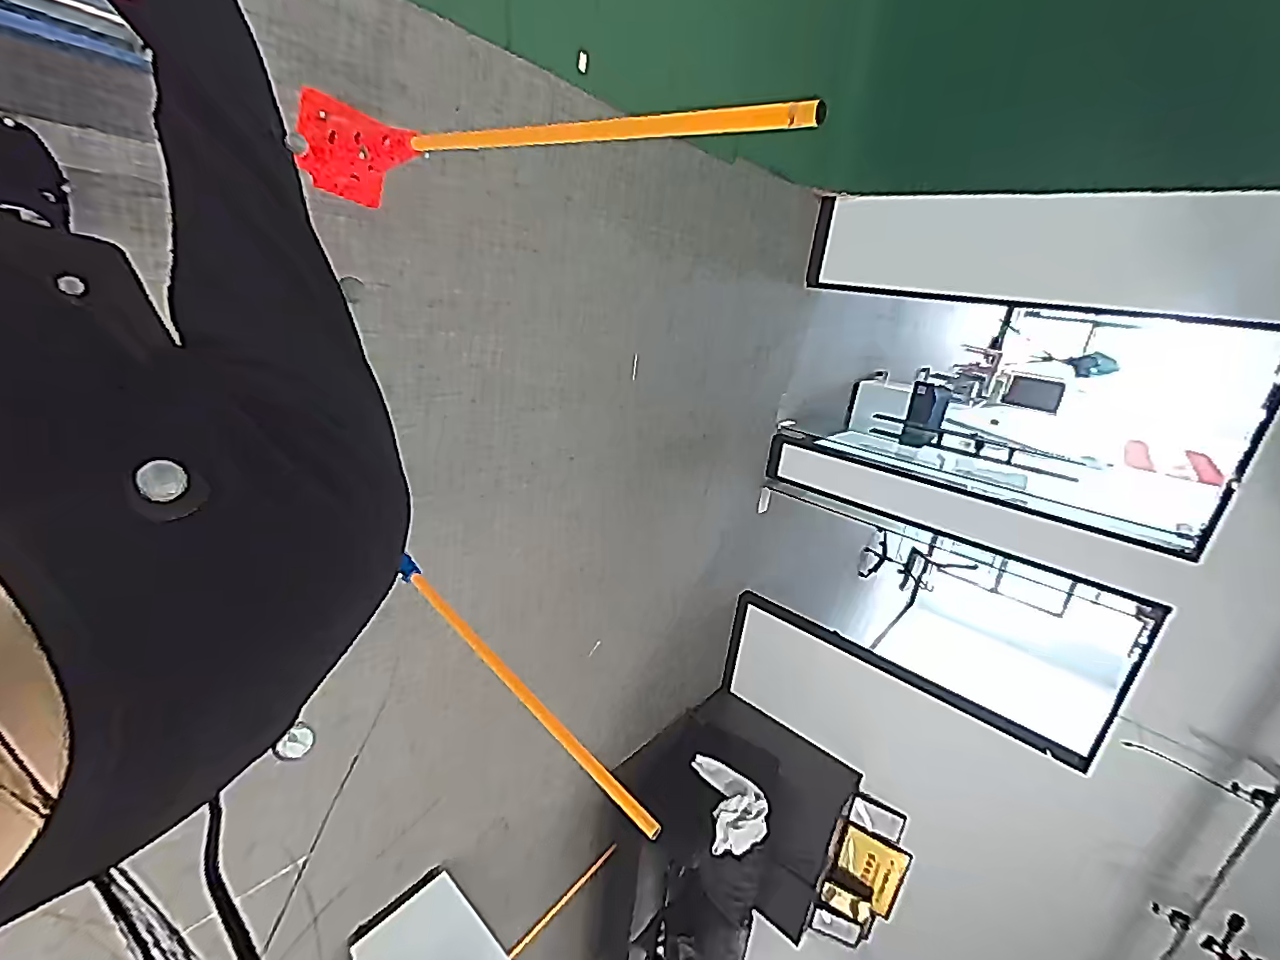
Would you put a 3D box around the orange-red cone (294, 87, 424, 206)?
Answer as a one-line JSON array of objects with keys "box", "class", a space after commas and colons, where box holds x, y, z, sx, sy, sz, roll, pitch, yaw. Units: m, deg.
[{"box": [-0.577, -0.731, 1.182, 0.198, 0.360, 0.199, 2, 107, -51], "class": "orange-red cone"}]
